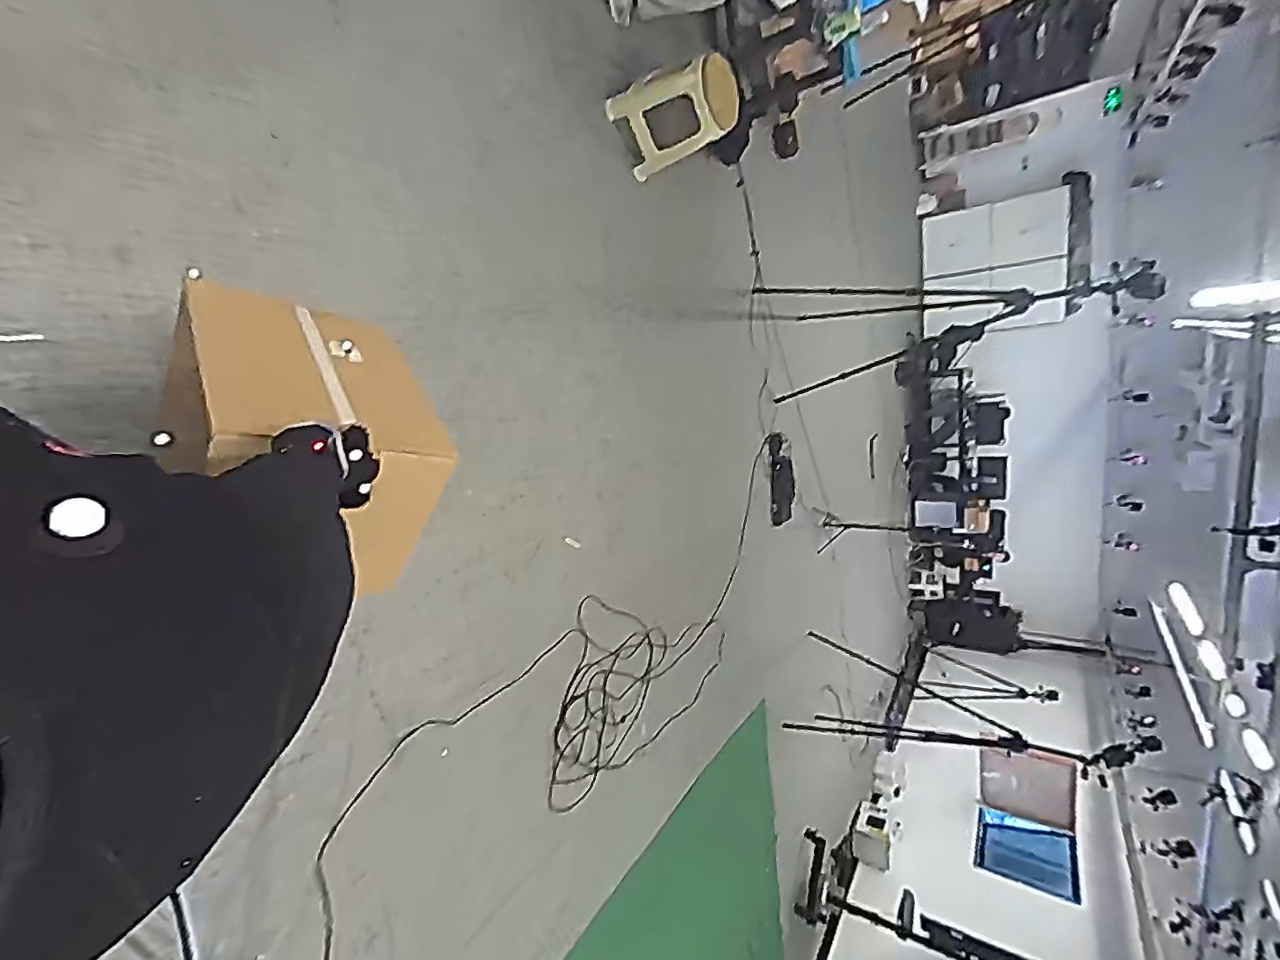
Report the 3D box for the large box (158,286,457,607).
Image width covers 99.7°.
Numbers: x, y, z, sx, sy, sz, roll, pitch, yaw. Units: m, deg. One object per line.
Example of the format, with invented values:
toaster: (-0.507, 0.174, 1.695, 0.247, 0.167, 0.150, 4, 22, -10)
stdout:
large box: (-0.572, -0.053, 0.906, 0.320, 0.408, 0.320, 7, 124, -49)
